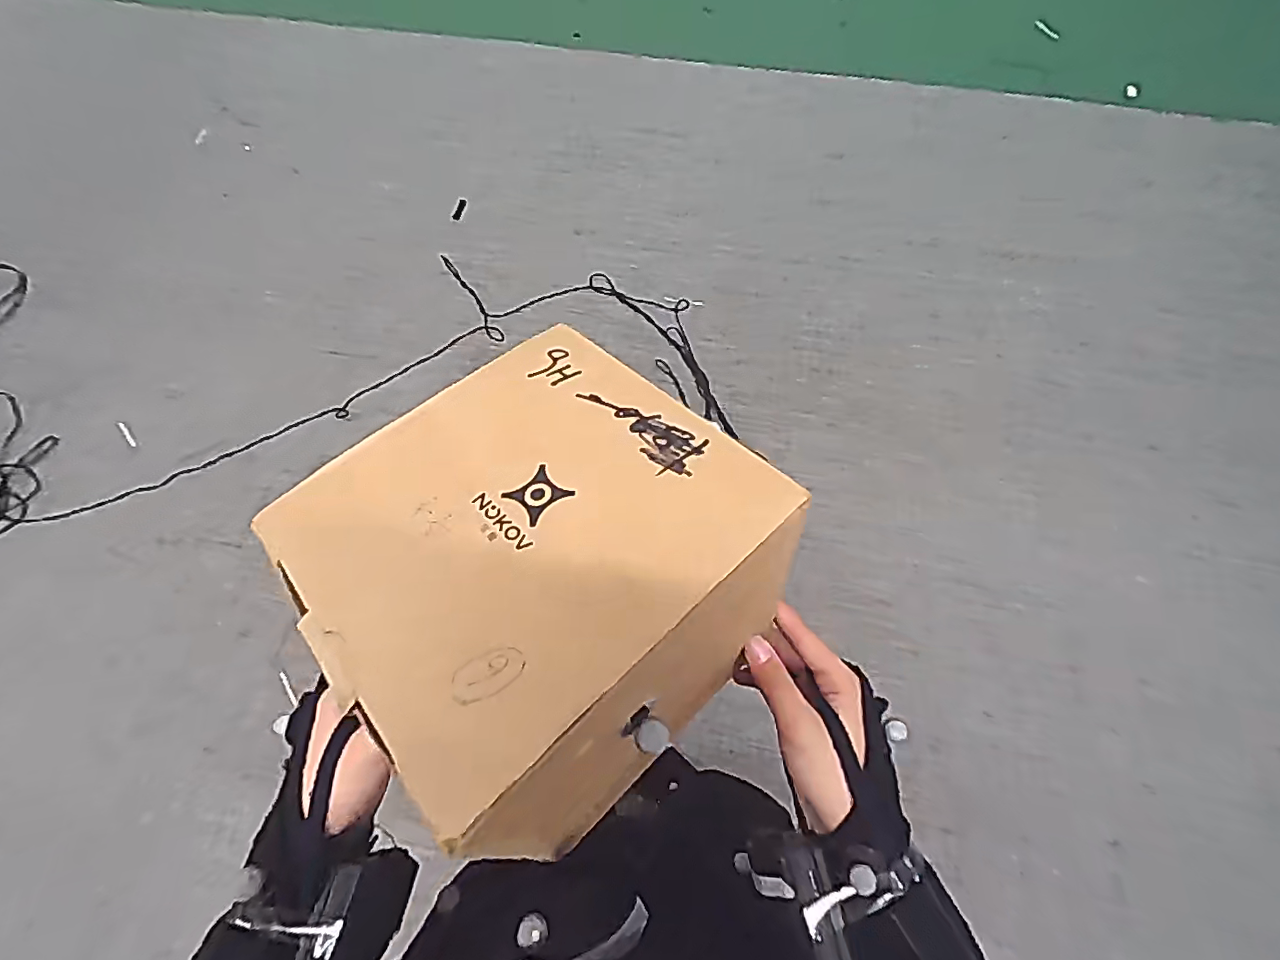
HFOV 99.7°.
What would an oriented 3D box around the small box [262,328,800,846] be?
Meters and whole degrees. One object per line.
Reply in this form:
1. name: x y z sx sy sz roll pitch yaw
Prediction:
1. small box: -0.041 0.060 0.289 0.179 0.176 0.168 -39 60 -19
